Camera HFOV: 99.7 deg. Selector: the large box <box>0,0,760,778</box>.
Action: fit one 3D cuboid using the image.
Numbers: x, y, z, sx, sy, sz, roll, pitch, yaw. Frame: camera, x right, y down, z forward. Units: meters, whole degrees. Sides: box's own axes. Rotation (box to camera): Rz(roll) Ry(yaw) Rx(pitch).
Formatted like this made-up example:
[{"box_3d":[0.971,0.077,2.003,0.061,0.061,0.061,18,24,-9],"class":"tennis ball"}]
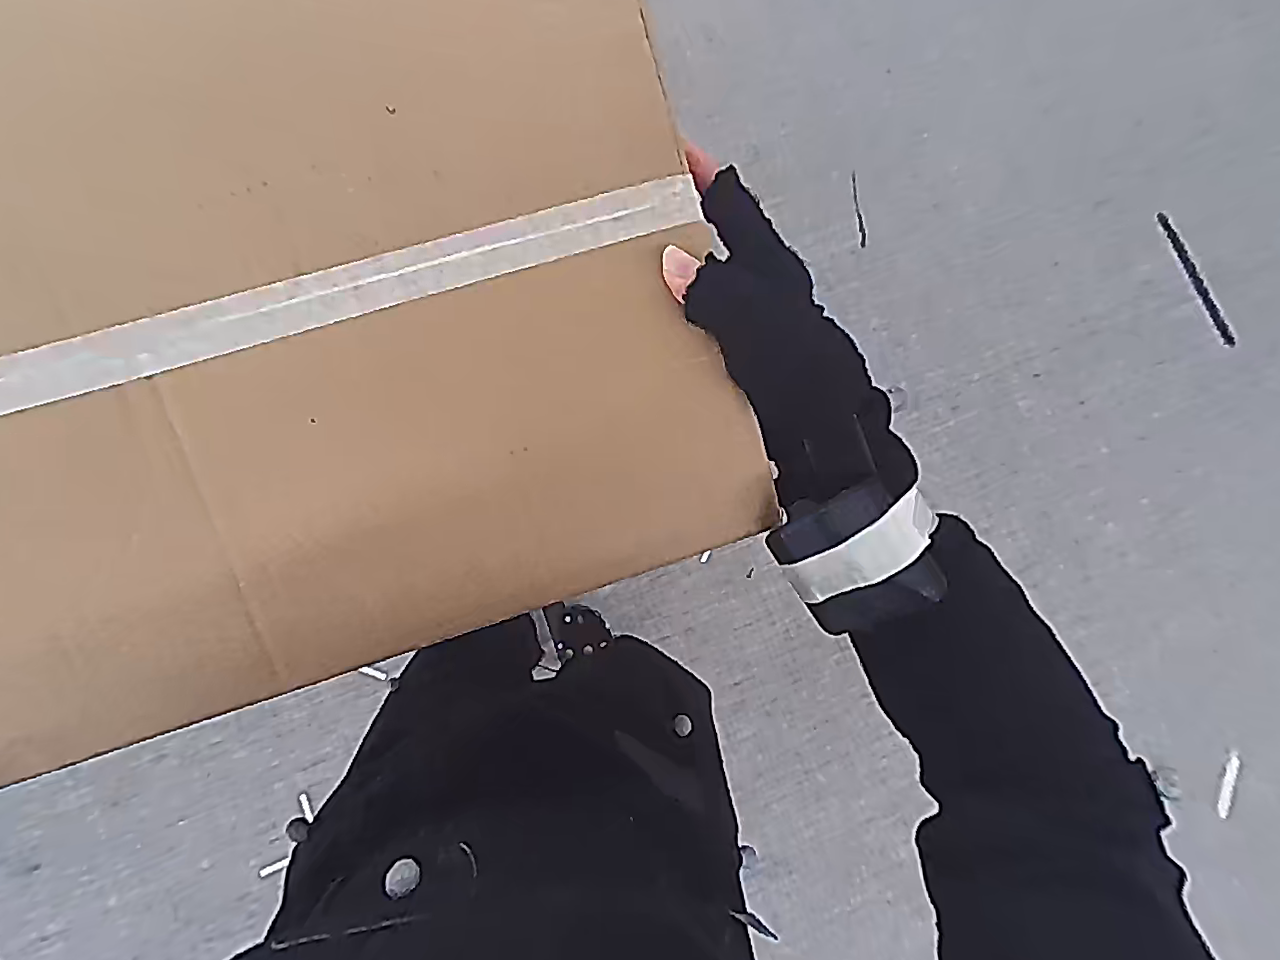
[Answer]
[{"box_3d":[-0.186,-0.082,0.381,0.408,0.320,0.320,-17,98,-6],"class":"large box"}]
